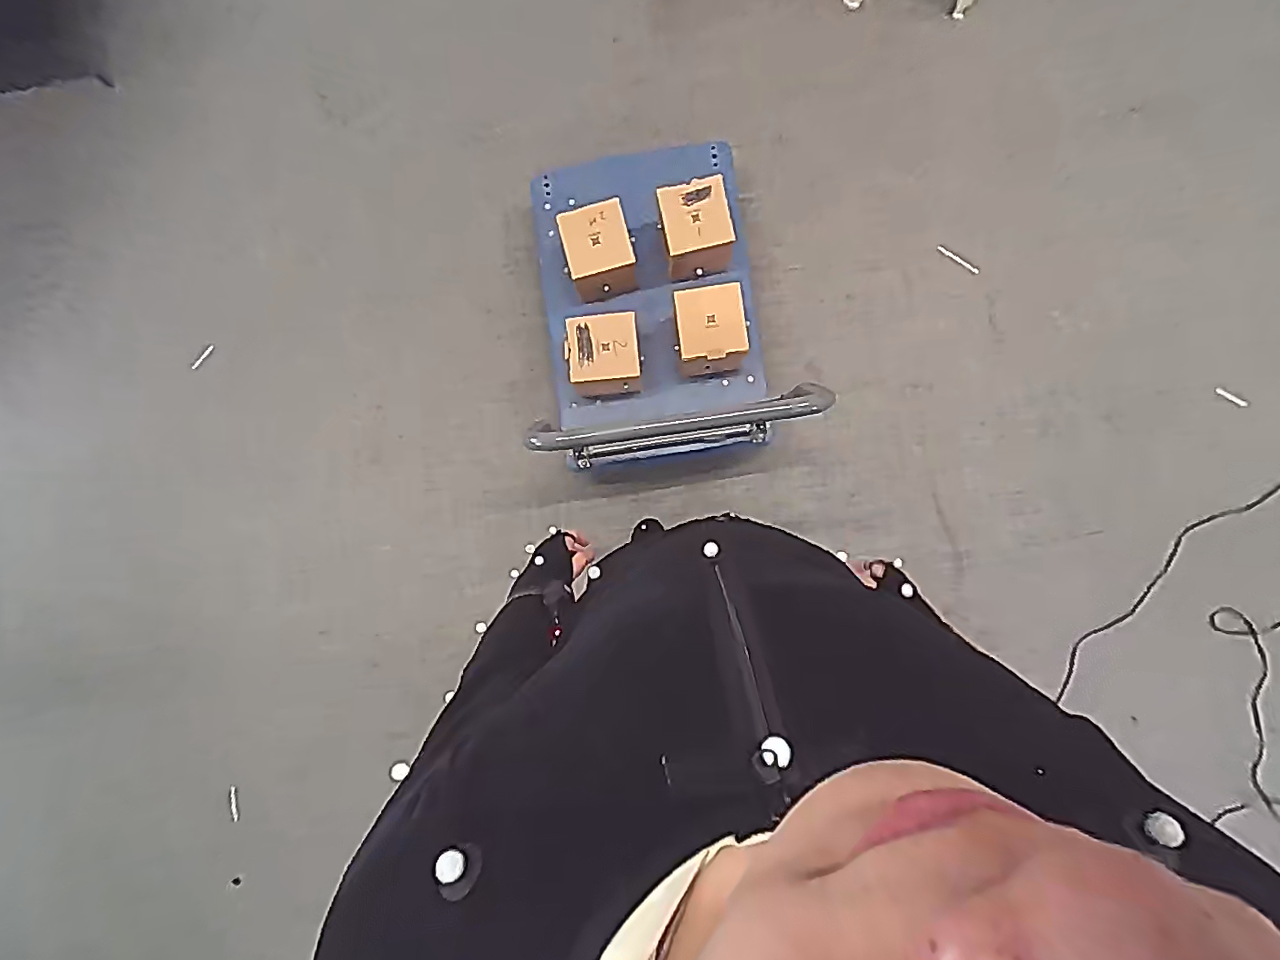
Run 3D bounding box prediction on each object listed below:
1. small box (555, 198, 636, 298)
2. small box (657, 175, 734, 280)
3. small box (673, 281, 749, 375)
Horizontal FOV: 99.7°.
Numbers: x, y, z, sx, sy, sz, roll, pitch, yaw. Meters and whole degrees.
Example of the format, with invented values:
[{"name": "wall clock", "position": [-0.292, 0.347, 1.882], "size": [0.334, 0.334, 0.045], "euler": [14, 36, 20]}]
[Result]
[{"name": "small box", "position": [-0.110, -0.598, 1.424], "size": [0.168, 0.176, 0.179], "euler": [-15, 87, 1]}, {"name": "small box", "position": [0.140, -0.653, 1.415], "size": [0.168, 0.176, 0.179], "euler": [-13, 87, 3]}, {"name": "small box", "position": [0.178, -0.387, 1.401], "size": [0.168, 0.176, 0.179], "euler": [-8, 87, 3]}]
